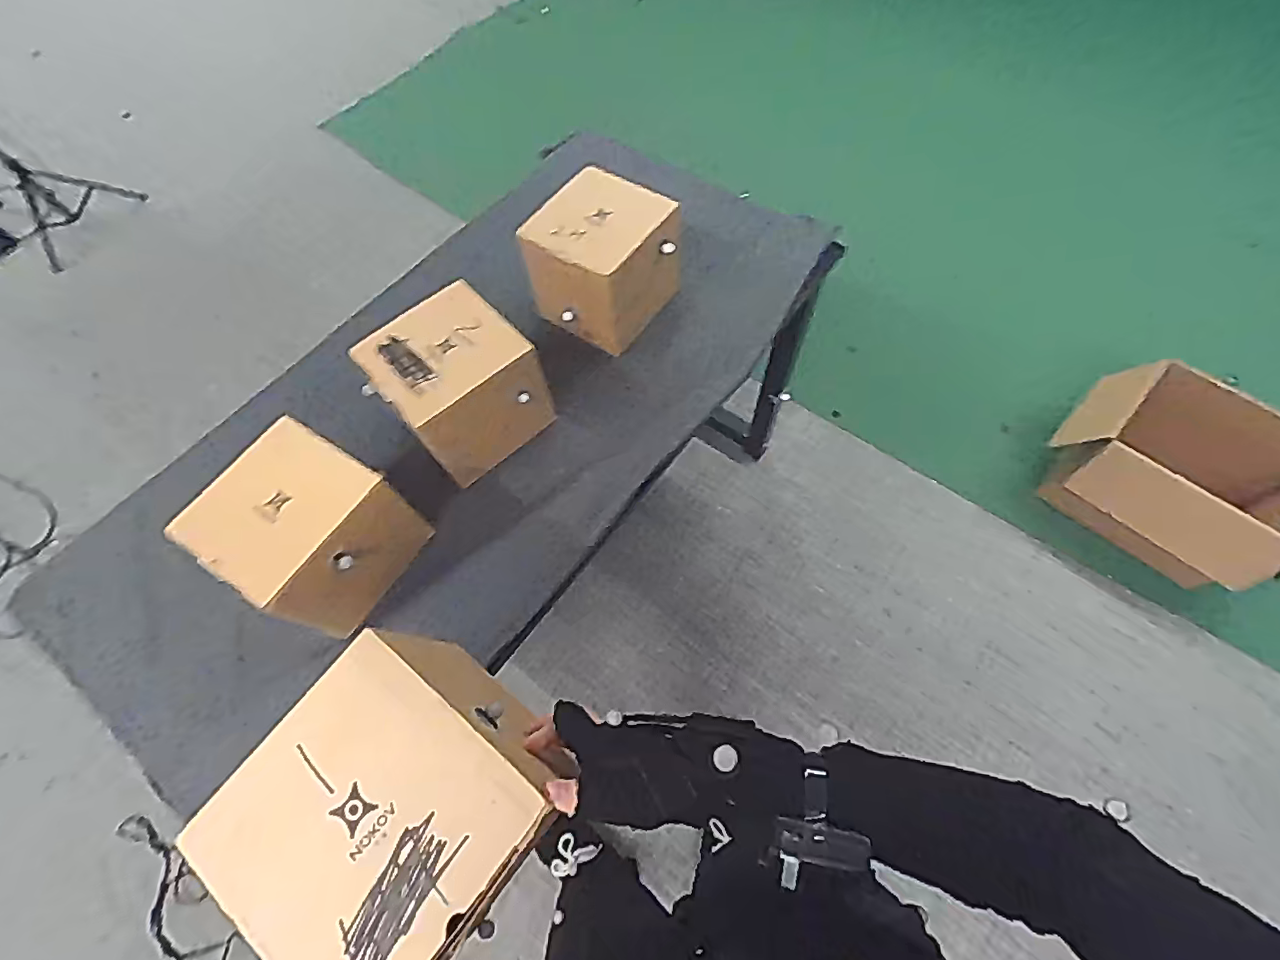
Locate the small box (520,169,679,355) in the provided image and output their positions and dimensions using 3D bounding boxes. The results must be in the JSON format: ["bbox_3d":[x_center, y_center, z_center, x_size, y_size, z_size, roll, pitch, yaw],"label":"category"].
[{"bbox_3d":[-0.056,-0.334,0.843,0.168,0.176,0.179,32,70,17],"label":"small box"}]

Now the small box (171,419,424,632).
[{"bbox_3d":[-0.398,0.063,0.671,0.168,0.176,0.179,29,70,15],"label":"small box"}]

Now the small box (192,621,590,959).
[{"bbox_3d":[-0.158,0.231,0.406,0.179,0.176,0.168,36,75,16],"label":"small box"}]
